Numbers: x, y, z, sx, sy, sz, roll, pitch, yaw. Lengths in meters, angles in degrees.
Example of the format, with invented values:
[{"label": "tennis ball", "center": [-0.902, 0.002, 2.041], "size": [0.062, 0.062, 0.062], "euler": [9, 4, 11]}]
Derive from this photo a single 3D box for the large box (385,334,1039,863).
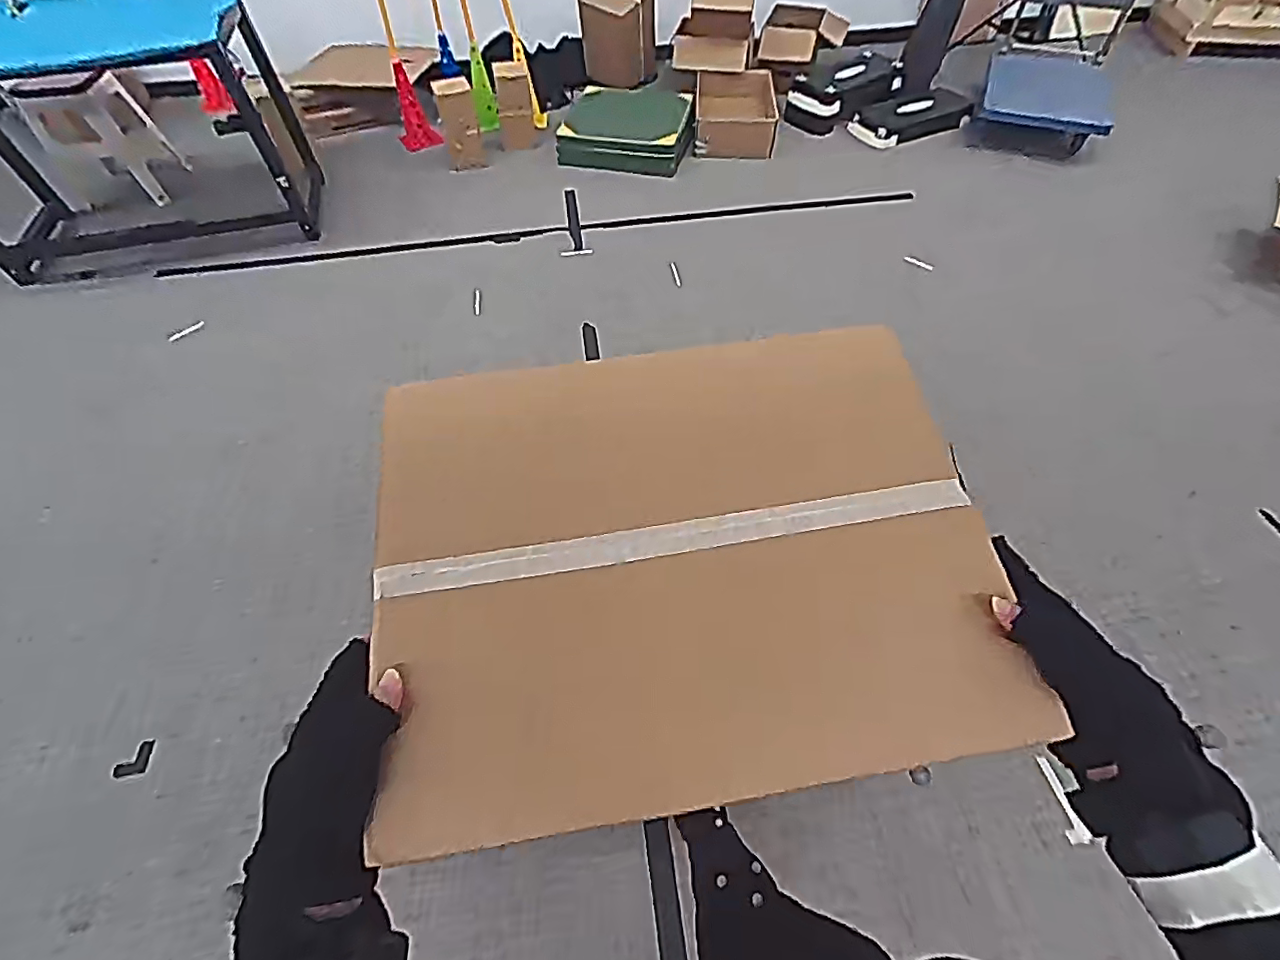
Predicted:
[{"label": "large box", "center": [0.028, 0.106, 0.511], "size": [0.408, 0.320, 0.320], "euler": [-9, 65, -4]}]
